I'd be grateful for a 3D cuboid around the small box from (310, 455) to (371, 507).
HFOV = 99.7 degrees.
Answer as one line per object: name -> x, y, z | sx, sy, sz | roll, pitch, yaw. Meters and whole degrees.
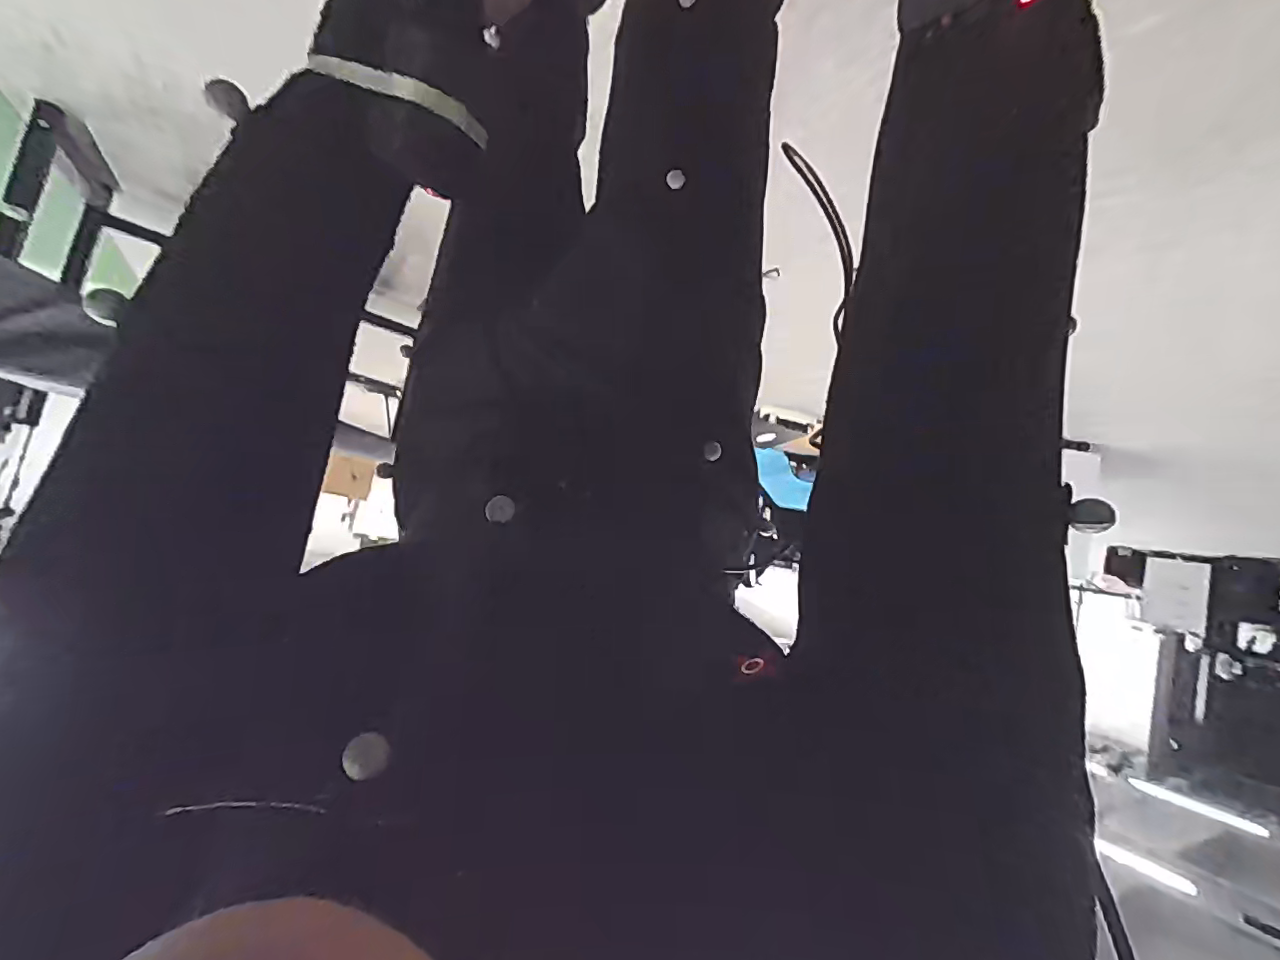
small box -> -1.137, 0.002, 2.055 | 0.168, 0.176, 0.179 | 16, 173, -33
